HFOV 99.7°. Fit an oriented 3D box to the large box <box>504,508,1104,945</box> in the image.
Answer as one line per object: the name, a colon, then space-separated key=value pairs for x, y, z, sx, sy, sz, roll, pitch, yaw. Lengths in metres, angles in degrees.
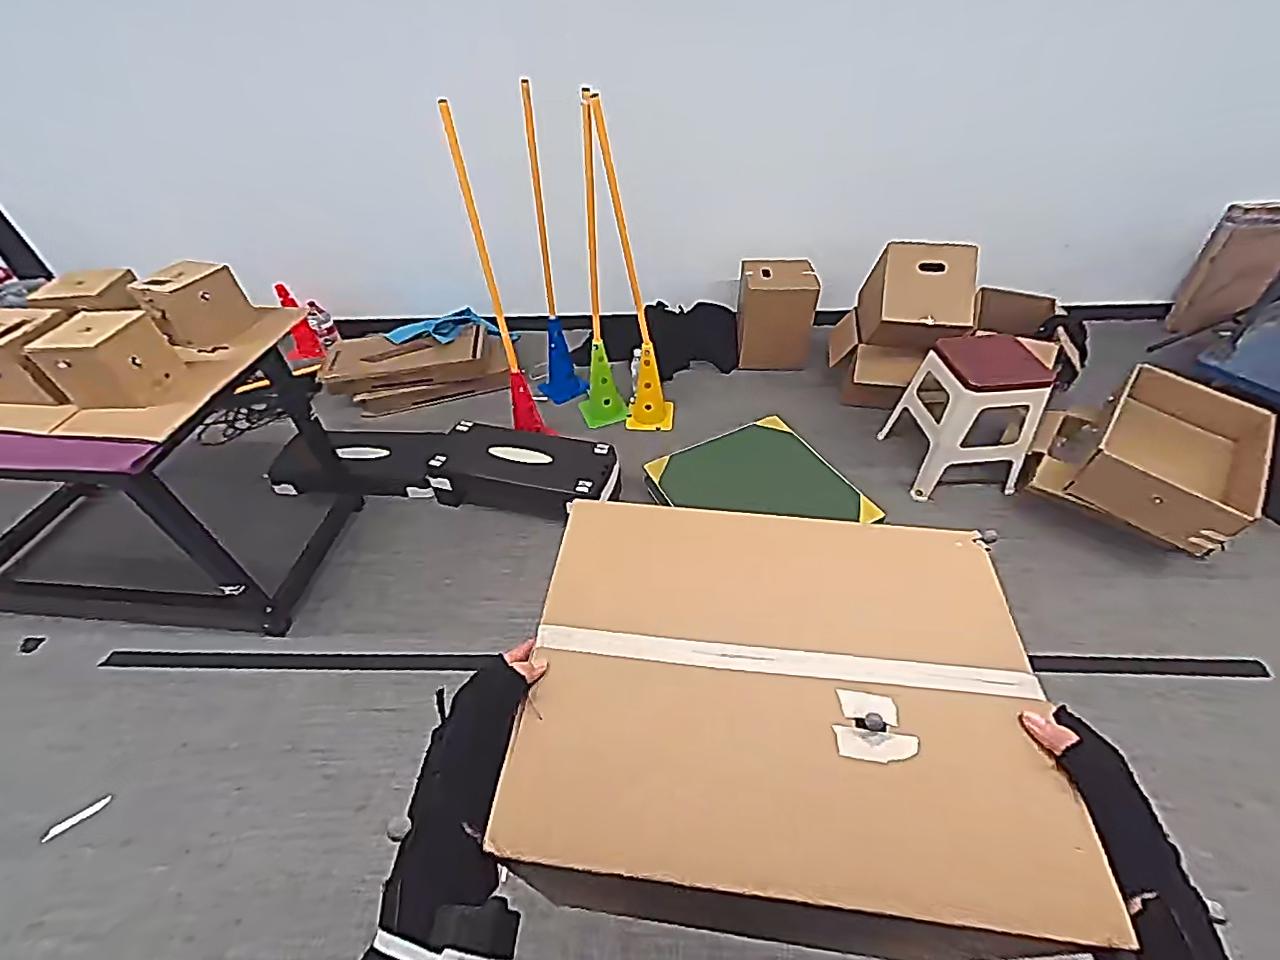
large box: x=0.116 y=0.255 z=0.566 sx=0.408 sy=0.320 sz=0.320 roll=5 pitch=48 yaw=5
